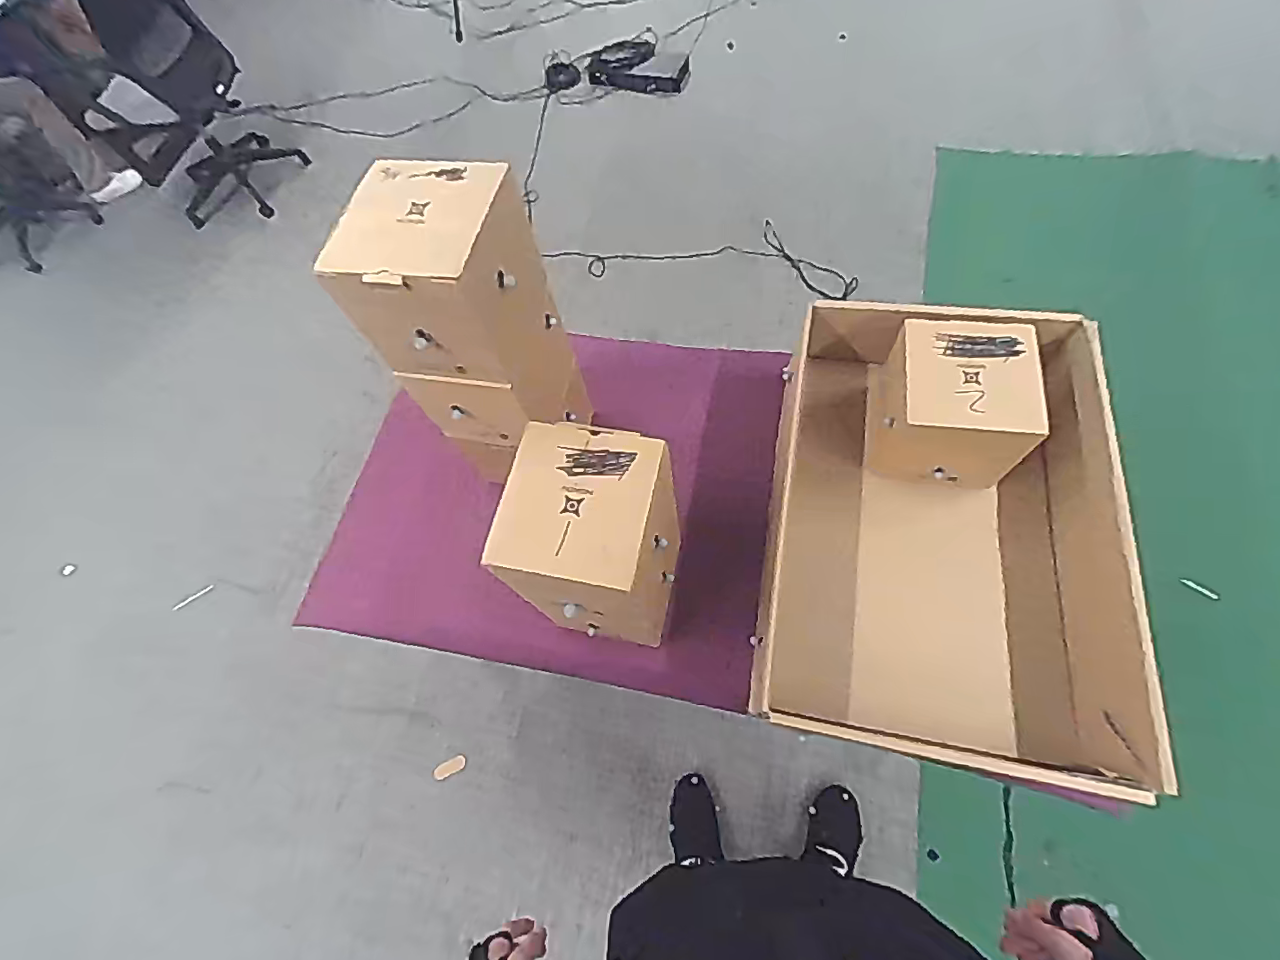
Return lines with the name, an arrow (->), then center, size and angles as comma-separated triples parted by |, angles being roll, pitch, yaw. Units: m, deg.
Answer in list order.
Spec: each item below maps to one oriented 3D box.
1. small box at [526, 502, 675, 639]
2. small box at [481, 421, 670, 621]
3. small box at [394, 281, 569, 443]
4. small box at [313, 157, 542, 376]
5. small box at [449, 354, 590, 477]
small box -> -0.045, 0.125, 0.798 | 0.168, 0.176, 0.179 | 10, 66, 11
small box -> -0.061, 0.054, 0.652 | 0.168, 0.176, 0.179 | 9, 66, 12
small box -> -0.212, -0.169, 0.782 | 0.168, 0.176, 0.179 | 8, 66, 10
small box -> -0.228, -0.242, 0.636 | 0.168, 0.176, 0.179 | 8, 67, 10
small box -> -0.193, -0.104, 0.929 | 0.168, 0.176, 0.179 | 9, 66, 10
